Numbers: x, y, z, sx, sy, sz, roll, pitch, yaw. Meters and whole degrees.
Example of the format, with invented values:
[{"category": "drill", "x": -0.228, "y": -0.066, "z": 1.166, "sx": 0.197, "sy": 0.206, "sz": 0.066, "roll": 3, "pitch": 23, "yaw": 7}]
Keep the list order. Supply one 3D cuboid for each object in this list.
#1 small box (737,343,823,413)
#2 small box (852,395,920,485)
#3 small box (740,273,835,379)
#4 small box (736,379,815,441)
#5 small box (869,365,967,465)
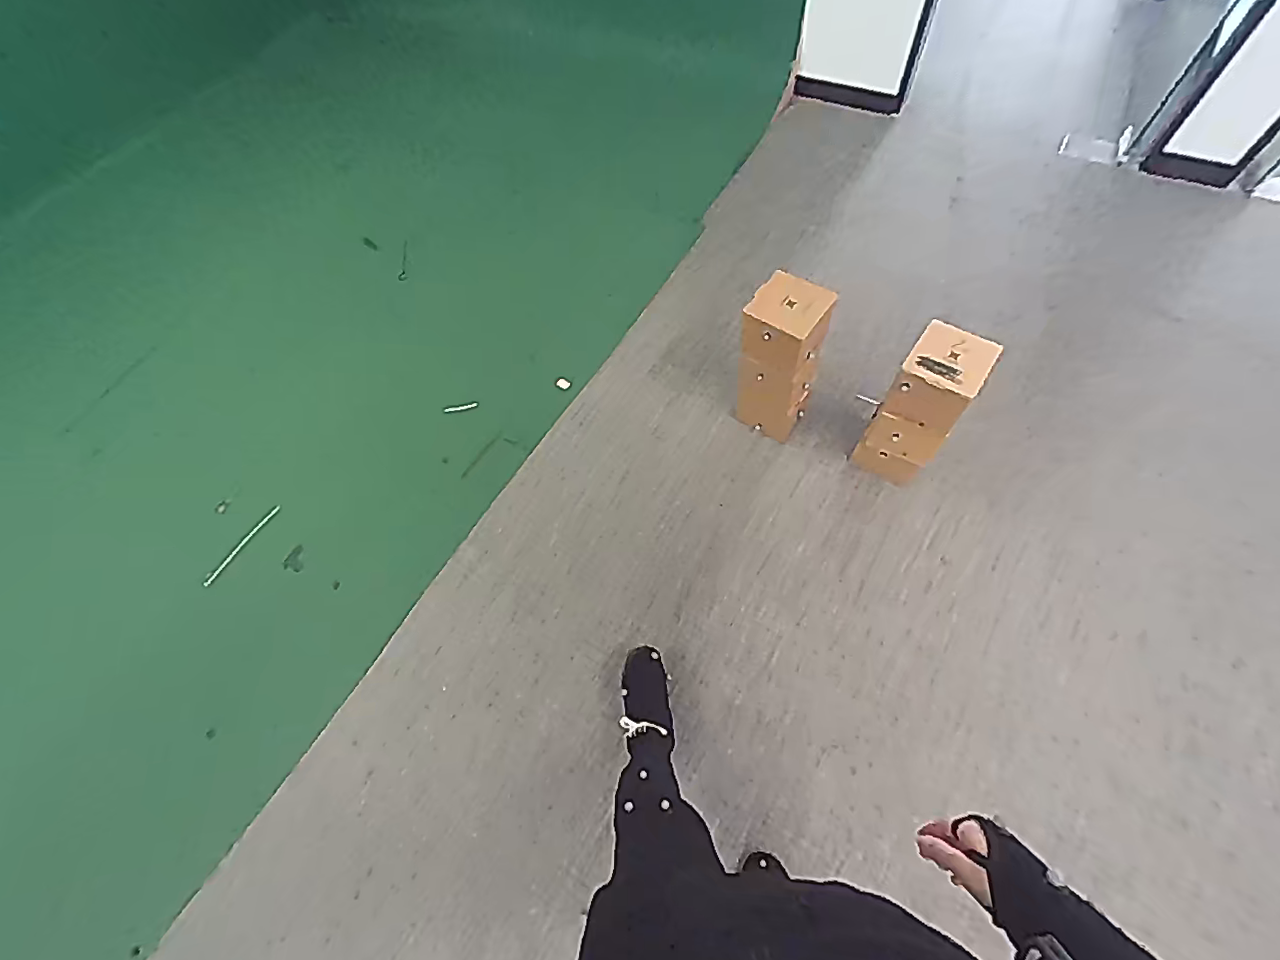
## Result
[{"category": "small box", "x": 0.393, "y": -0.322, "z": 1.553, "sx": 0.179, "sy": 0.176, "sz": 0.168, "roll": 32, "pitch": 72, "yaw": 20}, {"category": "small box", "x": 0.749, "y": -0.111, "z": 1.587, "sx": 0.179, "sy": 0.176, "sz": 0.168, "roll": 29, "pitch": 71, "yaw": 19}, {"category": "small box", "x": 0.374, "y": -0.395, "z": 1.409, "sx": 0.179, "sy": 0.176, "sz": 0.168, "roll": 34, "pitch": 73, "yaw": 20}, {"category": "small box", "x": 0.419, "y": -0.246, "z": 1.698, "sx": 0.179, "sy": 0.176, "sz": 0.168, "roll": 30, "pitch": 71, "yaw": 19}, {"category": "small box", "x": 0.727, "y": -0.167, "z": 1.436, "sx": 0.168, "sy": 0.176, "sz": 0.179, "roll": 25, "pitch": 69, "yaw": 18}]
